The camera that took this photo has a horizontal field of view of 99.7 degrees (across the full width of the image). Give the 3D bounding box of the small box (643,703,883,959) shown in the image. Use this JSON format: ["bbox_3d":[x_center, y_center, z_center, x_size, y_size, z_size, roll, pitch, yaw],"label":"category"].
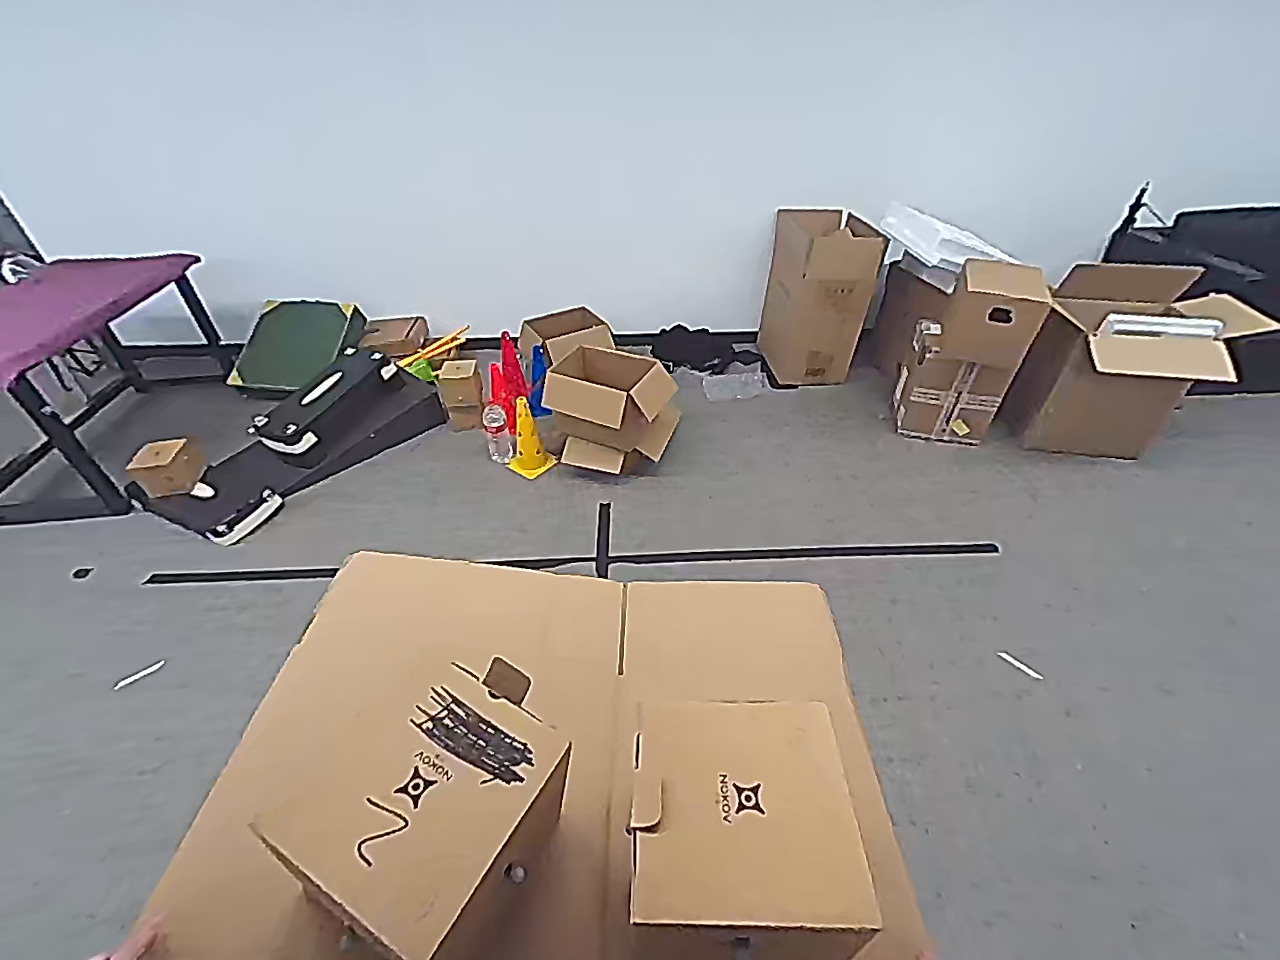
[{"bbox_3d":[0.093,0.326,0.499,0.179,0.176,0.168,-1,39,2],"label":"small box"}]
